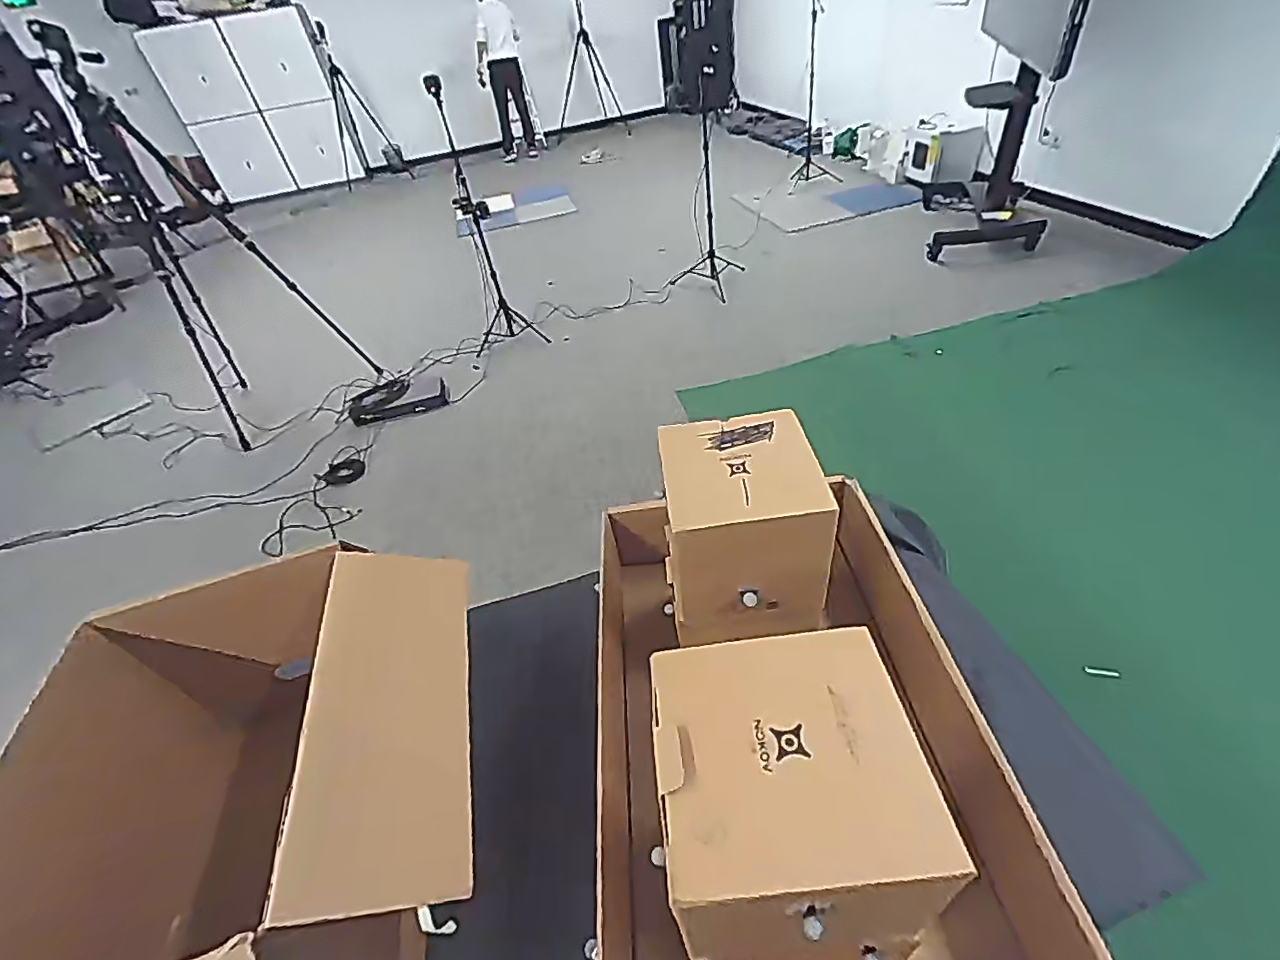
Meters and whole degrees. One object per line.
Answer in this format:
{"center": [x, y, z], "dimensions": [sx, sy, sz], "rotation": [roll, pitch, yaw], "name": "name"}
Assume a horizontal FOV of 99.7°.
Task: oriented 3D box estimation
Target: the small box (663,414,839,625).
{"center": [0.119, 0.047, 0.641], "dimensions": [0.168, 0.176, 0.179], "rotation": [-7, 43, 3], "name": "small box"}

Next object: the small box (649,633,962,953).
{"center": [0.107, 0.245, 0.424], "dimensions": [0.179, 0.176, 0.168], "rotation": [-7, 41, 2], "name": "small box"}
